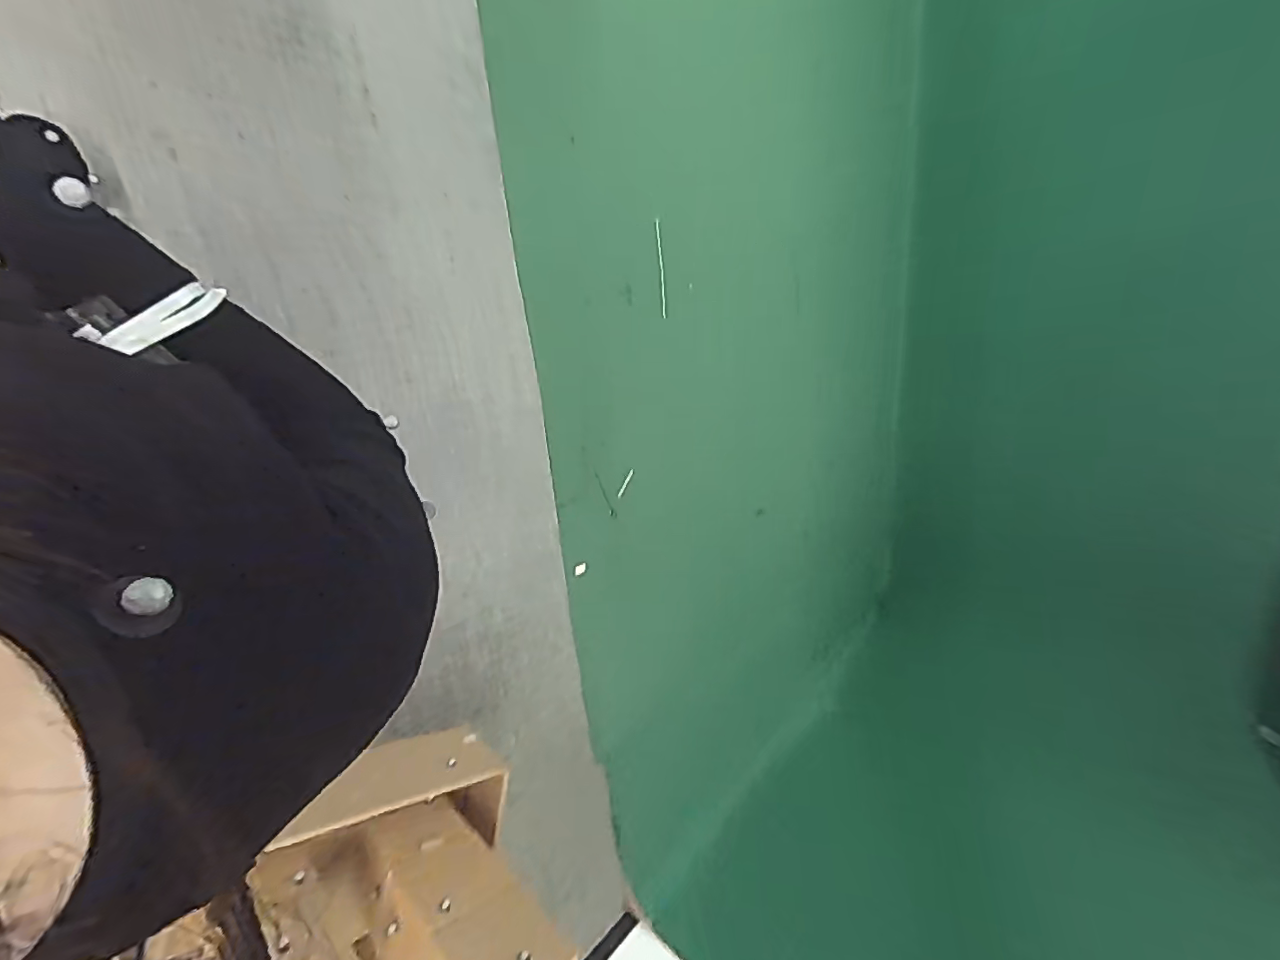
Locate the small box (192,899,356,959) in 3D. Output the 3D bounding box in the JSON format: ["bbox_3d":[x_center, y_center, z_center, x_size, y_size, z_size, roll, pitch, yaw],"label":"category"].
[{"bbox_3d":[-0.542,0.751,0.775,0.168,0.176,0.179,18,85,-47],"label":"small box"}]

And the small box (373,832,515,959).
[{"bbox_3d":[-0.357,0.789,0.984,0.179,0.176,0.168,7,94,-46],"label":"small box"}]
